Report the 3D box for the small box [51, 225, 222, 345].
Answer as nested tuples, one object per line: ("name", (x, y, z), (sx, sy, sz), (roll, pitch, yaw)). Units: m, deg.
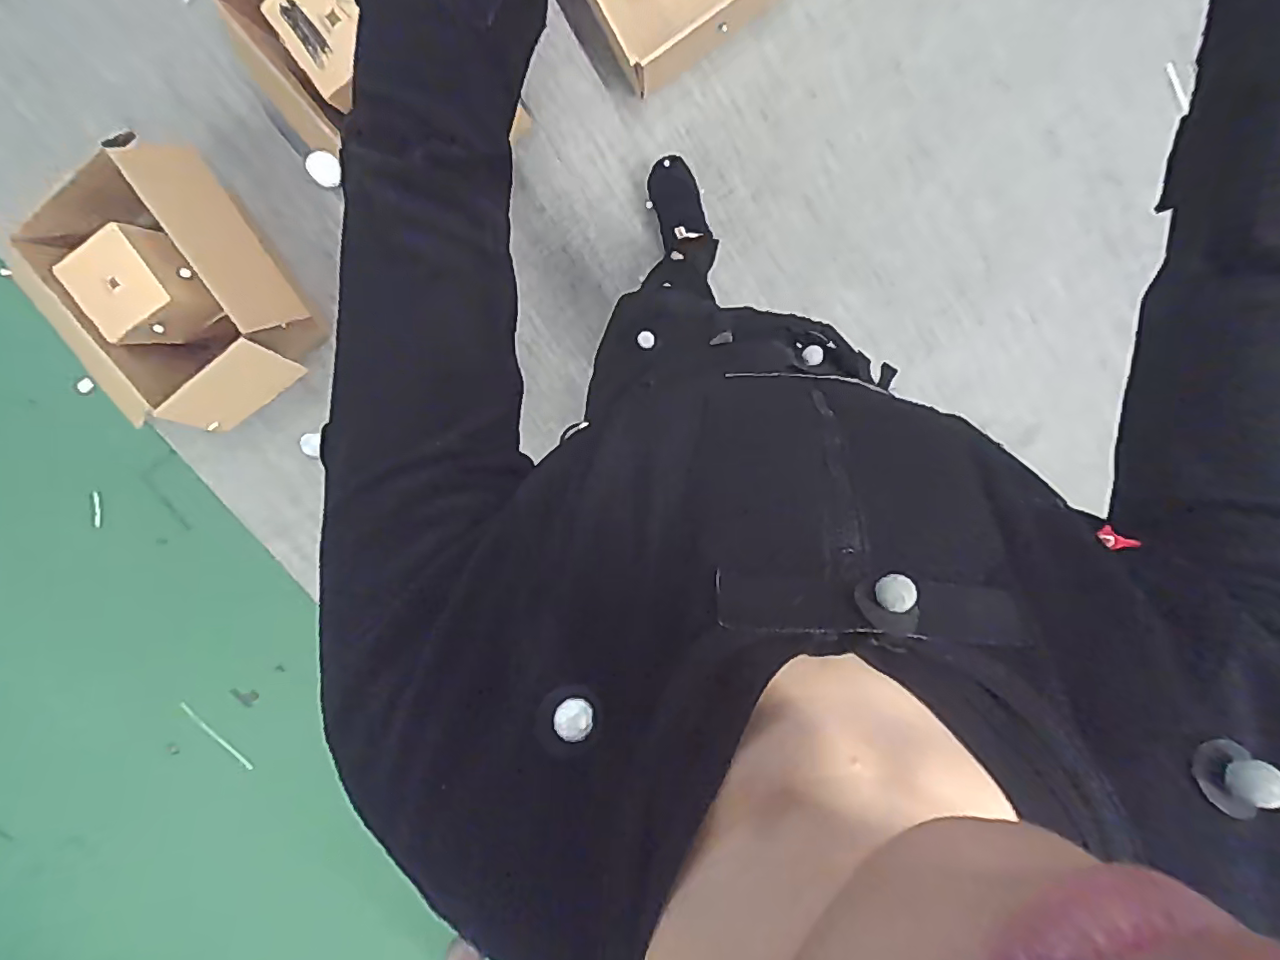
("small box", (-1.031, -0.400, 1.132), (0.179, 0.176, 0.168), (-29, 102, 9))
